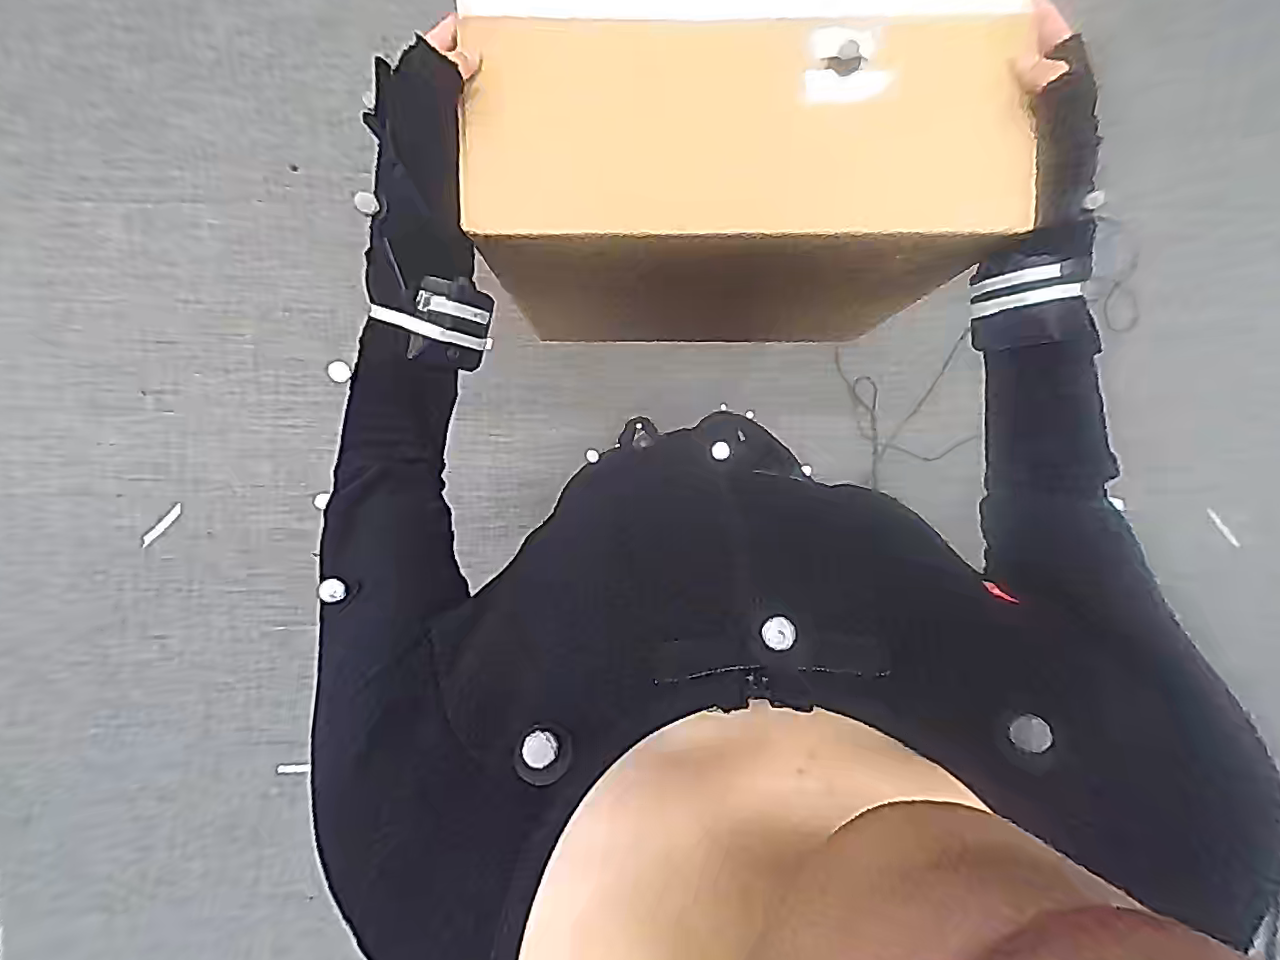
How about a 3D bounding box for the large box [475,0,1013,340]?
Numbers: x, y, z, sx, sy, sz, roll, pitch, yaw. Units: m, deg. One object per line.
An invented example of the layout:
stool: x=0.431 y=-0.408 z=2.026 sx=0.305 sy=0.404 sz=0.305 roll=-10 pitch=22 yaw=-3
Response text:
large box: x=0.072 y=-0.338 z=0.547 sx=0.408 sy=0.320 sz=0.320 roll=0 pitch=90 yaw=-1
